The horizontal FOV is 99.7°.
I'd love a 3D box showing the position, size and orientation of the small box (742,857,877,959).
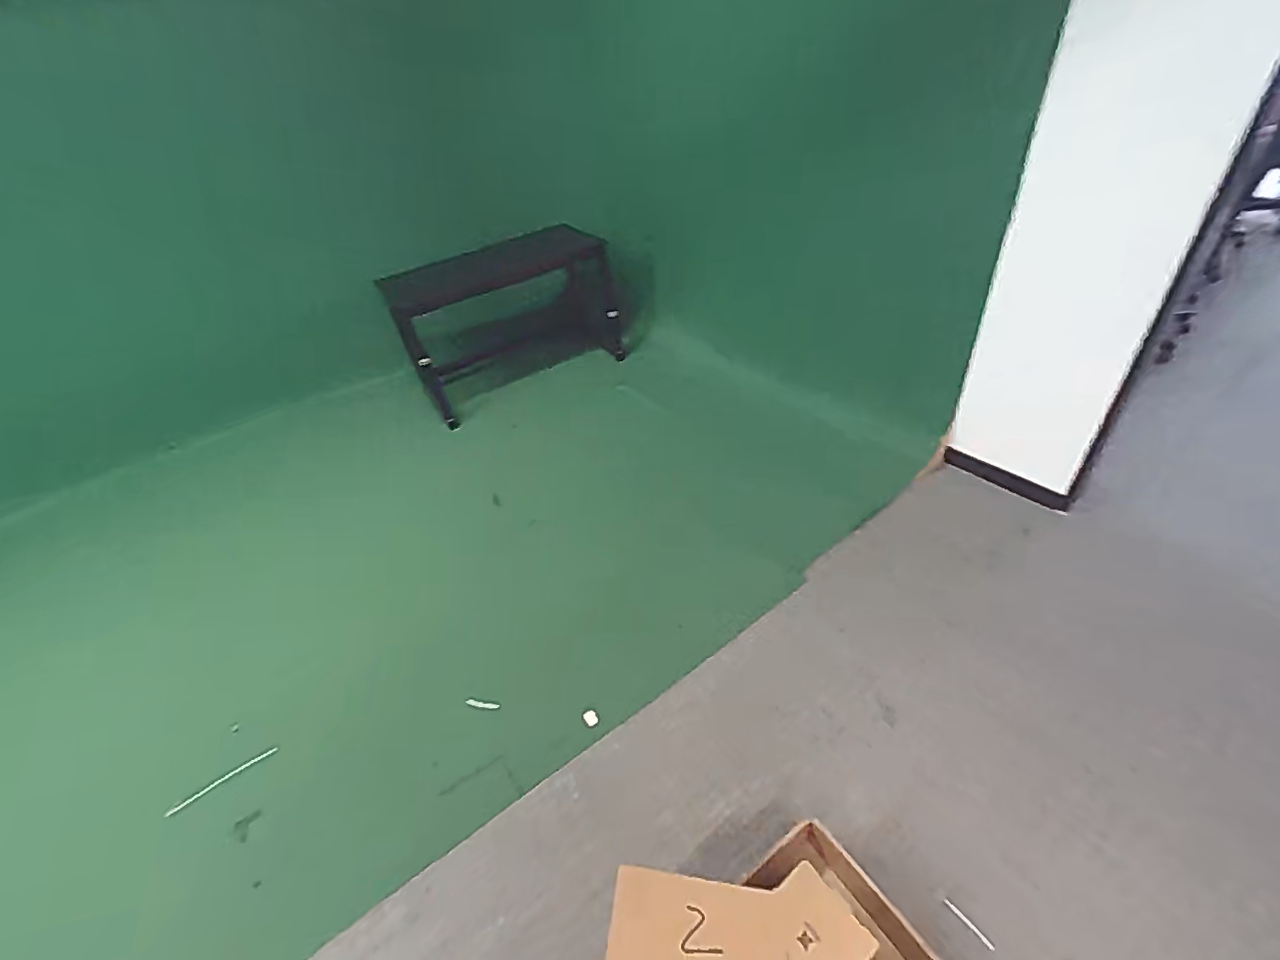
[{"bbox_3d":[0.304,0.856,1.001,0.179,0.176,0.168,-30,44,-23],"label":"small box"}]
